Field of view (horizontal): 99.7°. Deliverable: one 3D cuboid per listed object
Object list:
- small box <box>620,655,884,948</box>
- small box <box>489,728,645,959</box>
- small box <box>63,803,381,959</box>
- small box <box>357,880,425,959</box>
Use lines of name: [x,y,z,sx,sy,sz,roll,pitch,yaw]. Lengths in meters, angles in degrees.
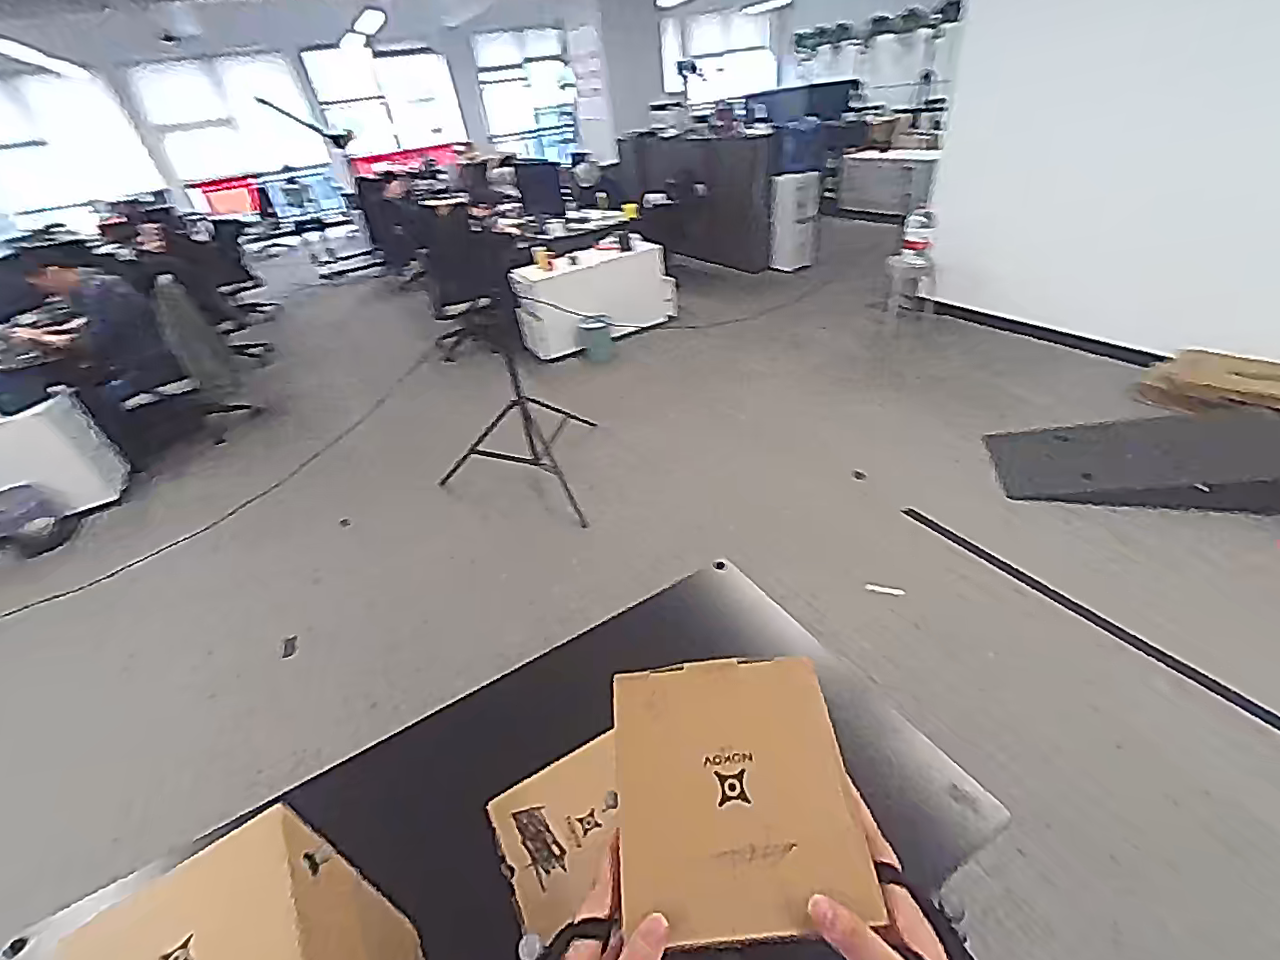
small box: [0.073,0.268,0.451,0.168,0.176,0.179,-6,48,2]
small box: [-0.057,0.450,0.651,0.179,0.176,0.168,-23,37,-20]
small box: [-0.333,0.430,0.452,0.168,0.176,0.179,-28,40,-25]
small box: [-0.311,0.566,0.544,0.168,0.176,0.179,-27,40,-24]
